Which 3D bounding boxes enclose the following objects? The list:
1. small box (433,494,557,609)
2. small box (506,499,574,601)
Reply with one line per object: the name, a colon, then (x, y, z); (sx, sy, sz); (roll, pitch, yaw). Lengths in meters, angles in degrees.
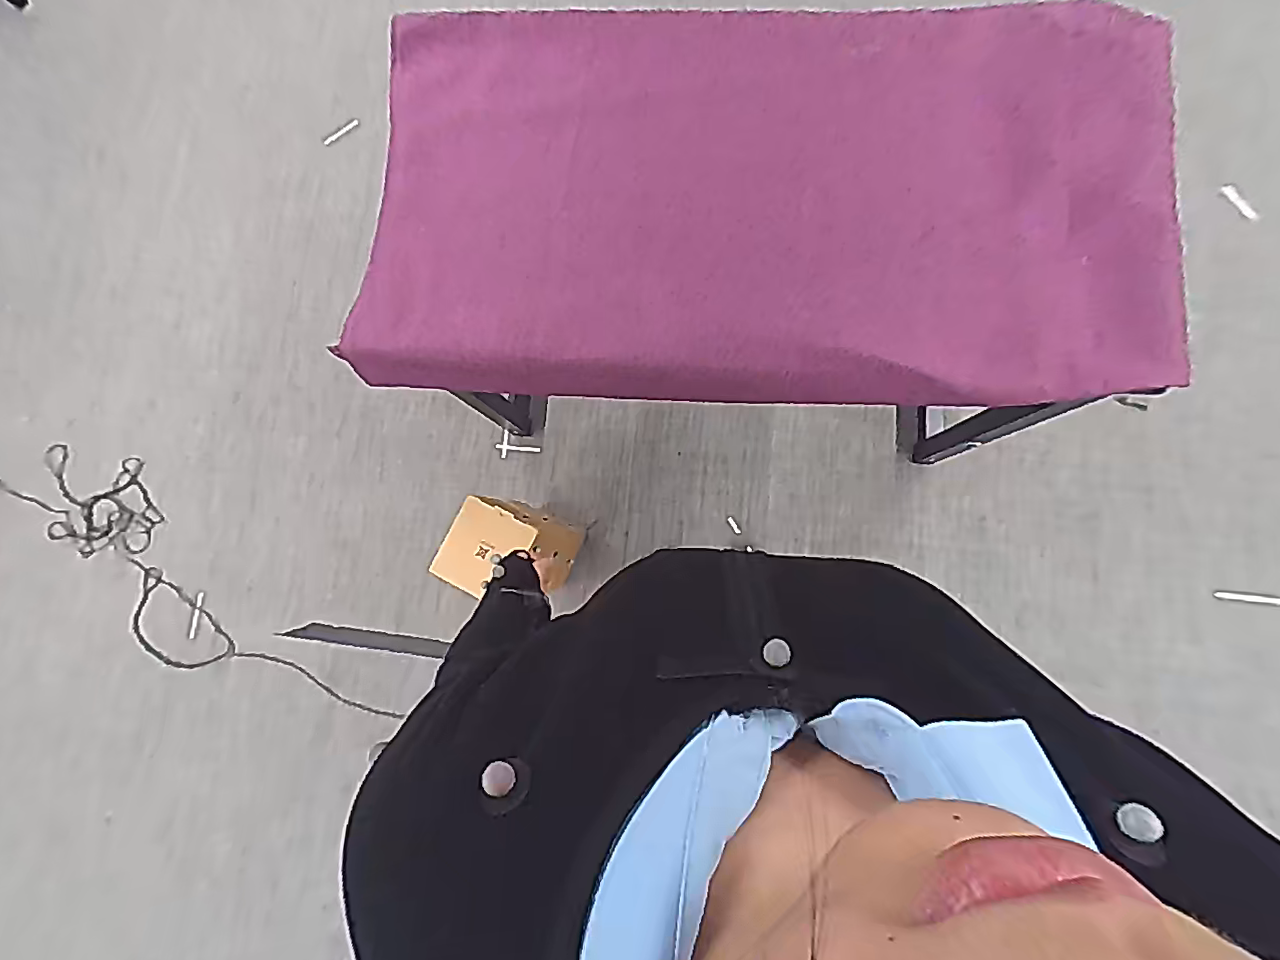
small box: (-0.294, 0.150, 1.143); (0.168, 0.176, 0.179); (26, 85, 8)
small box: (-0.276, 0.166, 1.305); (0.168, 0.176, 0.179); (33, 87, 8)
